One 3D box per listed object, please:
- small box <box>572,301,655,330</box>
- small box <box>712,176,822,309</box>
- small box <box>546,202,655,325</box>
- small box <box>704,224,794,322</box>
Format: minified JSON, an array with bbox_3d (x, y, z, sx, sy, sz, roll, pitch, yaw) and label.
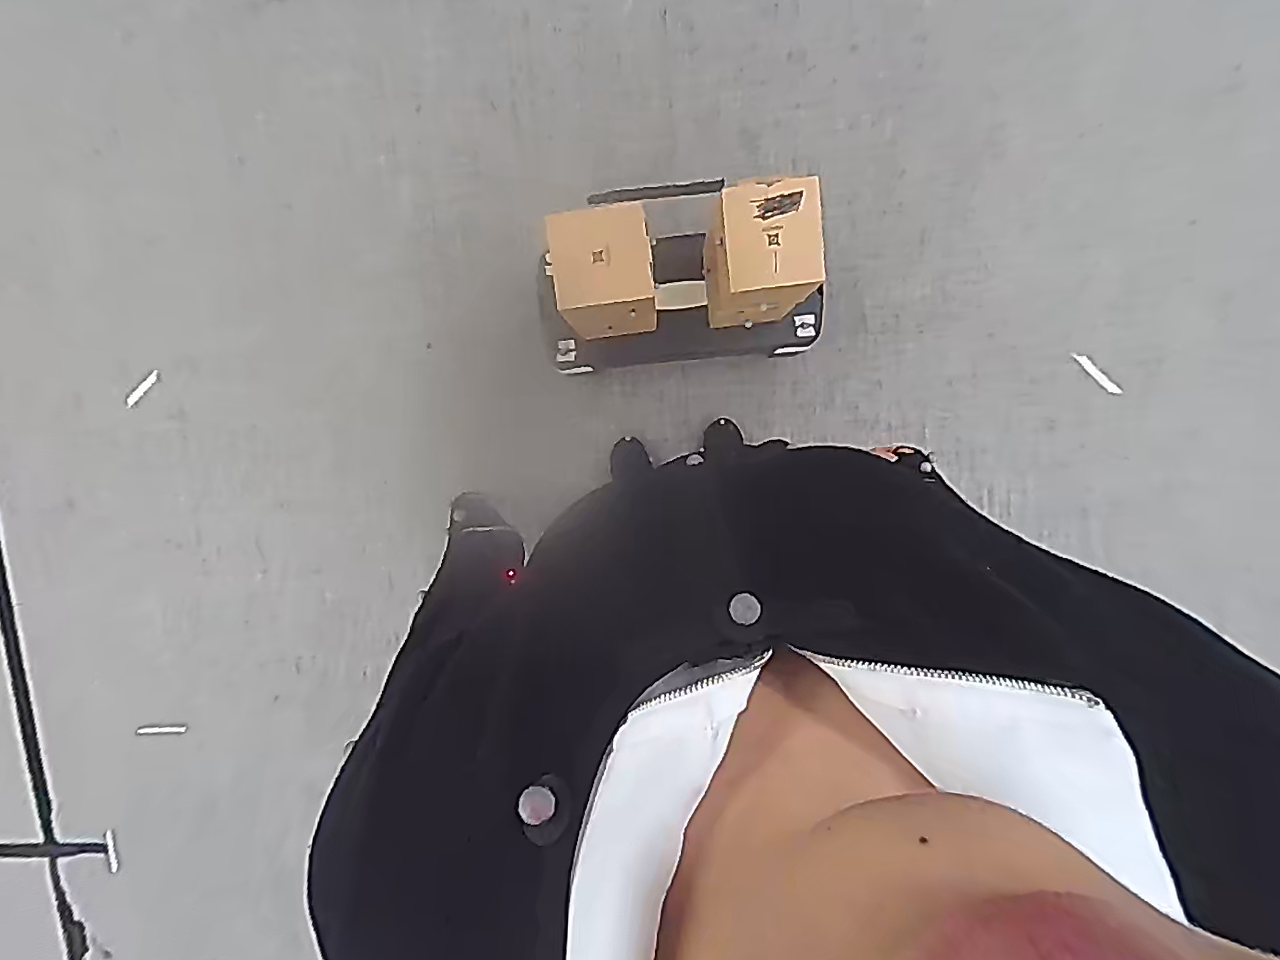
[{"bbox_3d":[-0.061,-0.418,1.187,0.179,0.176,0.168,-7,96,3],"label":"small box"},{"bbox_3d":[0.229,-0.432,1.009,0.168,0.176,0.179,-6,97,3],"label":"small box"},{"bbox_3d":[-0.068,-0.400,1.025,0.179,0.176,0.168,-8,95,3],"label":"small box"},{"bbox_3d":[0.227,-0.445,1.173,0.168,0.176,0.179,-6,96,4],"label":"small box"}]
